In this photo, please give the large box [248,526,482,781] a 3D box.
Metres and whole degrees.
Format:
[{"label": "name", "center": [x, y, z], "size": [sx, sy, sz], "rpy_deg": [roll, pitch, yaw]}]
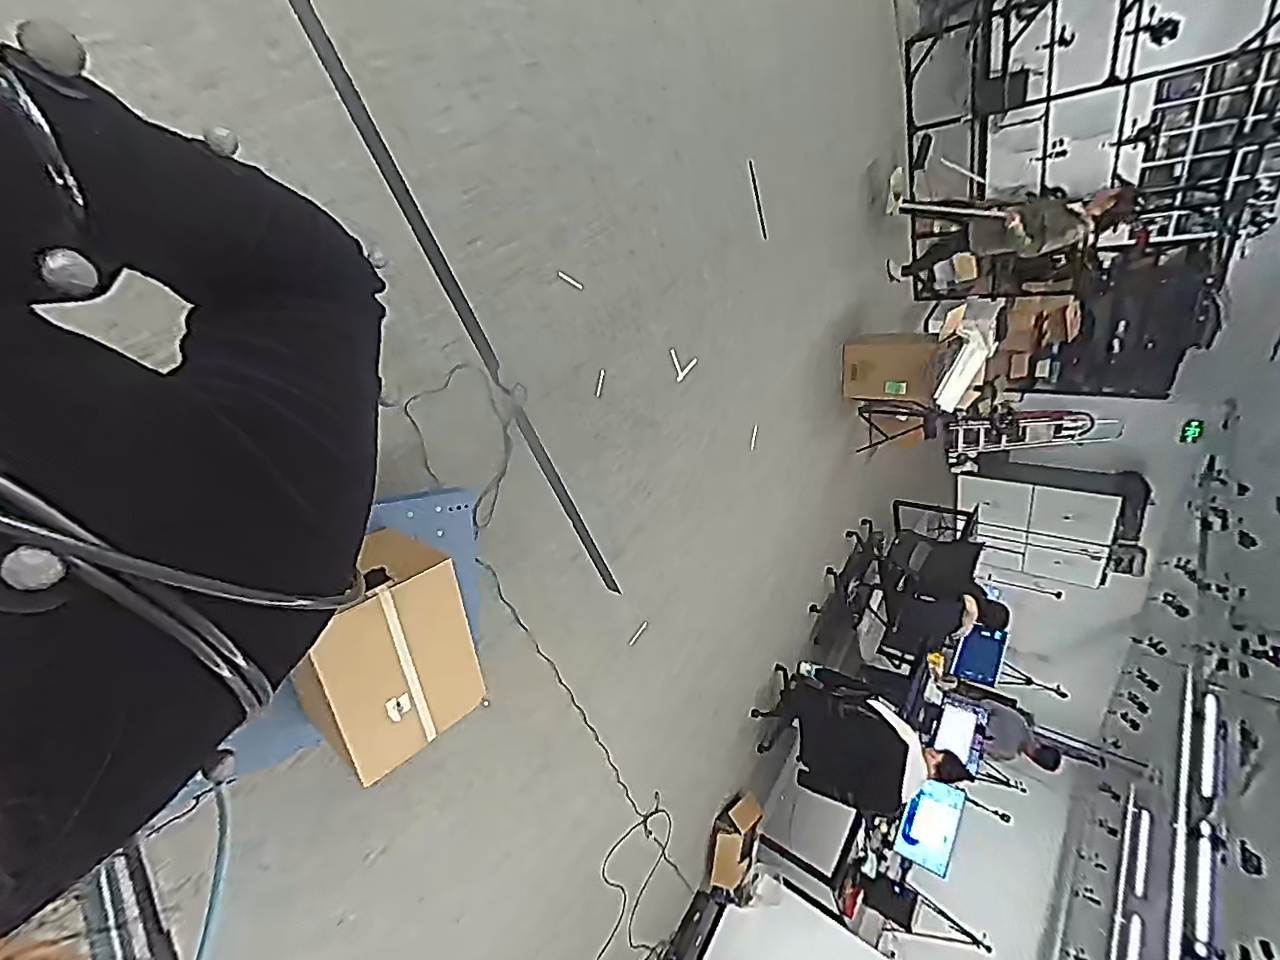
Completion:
[{"label": "large box", "center": [-0.619, 0.372, 1.248], "size": [0.320, 0.320, 0.408], "rpy_deg": [-27, 120, -43]}]
